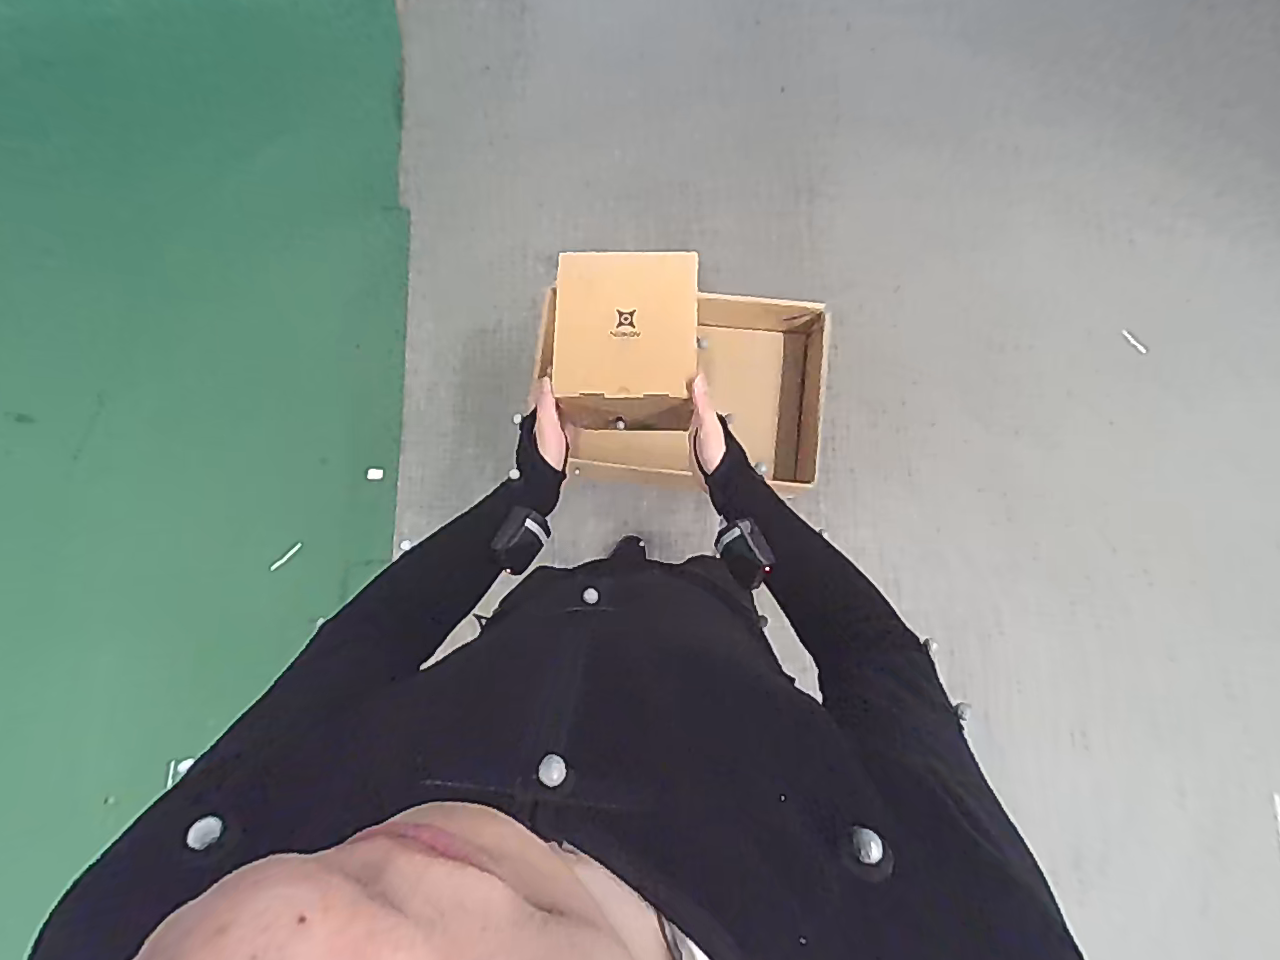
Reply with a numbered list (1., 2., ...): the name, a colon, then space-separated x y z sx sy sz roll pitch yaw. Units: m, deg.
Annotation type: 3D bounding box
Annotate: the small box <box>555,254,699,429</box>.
1. small box: -0.014 -0.170 0.704 0.168 0.176 0.179 1 85 1
